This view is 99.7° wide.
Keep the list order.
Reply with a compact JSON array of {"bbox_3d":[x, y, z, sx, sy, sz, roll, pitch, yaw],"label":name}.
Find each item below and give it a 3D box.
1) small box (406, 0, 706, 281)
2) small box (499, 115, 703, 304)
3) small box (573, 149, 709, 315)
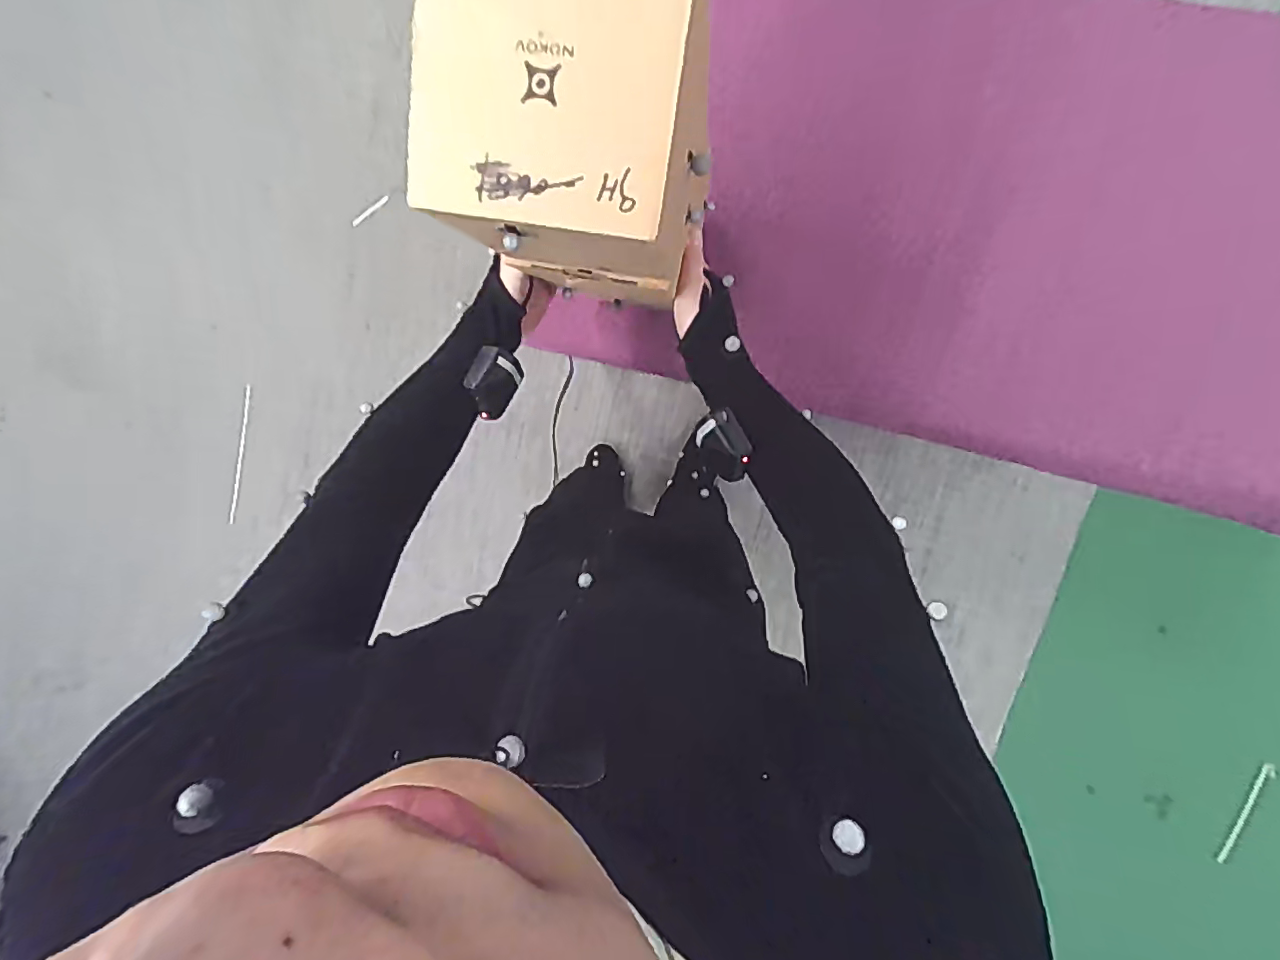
[{"bbox_3d":[-0.047,-0.262,0.401,0.168,0.176,0.179,11,103,5],"label":"small box"},{"bbox_3d":[-0.030,-0.290,0.561,0.168,0.176,0.179,11,102,5],"label":"small box"},{"bbox_3d":[-0.008,-0.328,0.719,0.168,0.176,0.179,12,104,5],"label":"small box"}]
